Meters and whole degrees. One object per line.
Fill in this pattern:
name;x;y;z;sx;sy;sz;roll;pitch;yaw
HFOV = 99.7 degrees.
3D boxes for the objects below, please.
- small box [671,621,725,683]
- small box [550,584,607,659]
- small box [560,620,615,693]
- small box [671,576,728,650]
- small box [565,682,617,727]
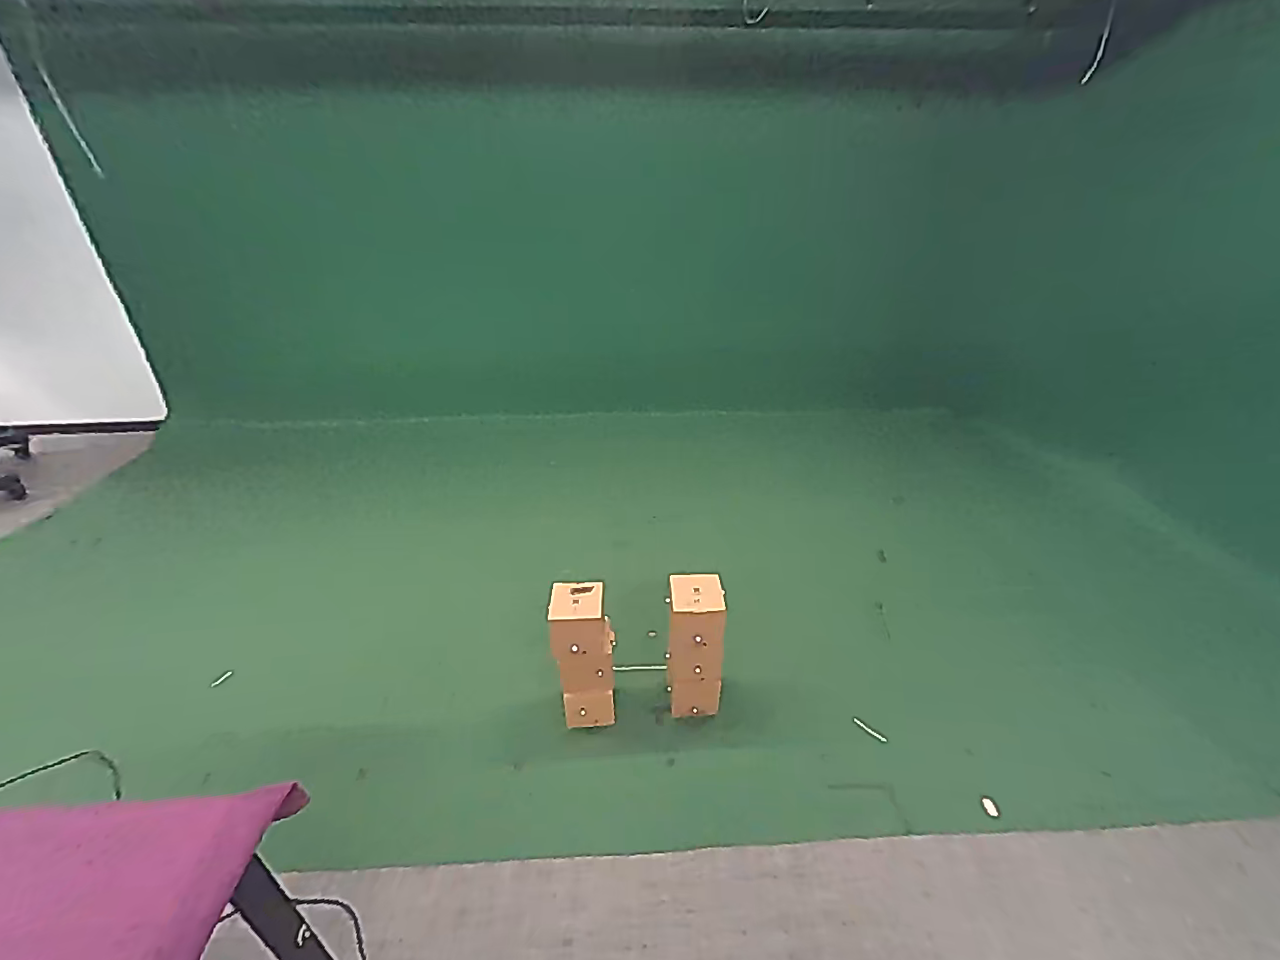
small box;0.194;0.577;1.857;0.168;0.176;0.179;-1;32;-2
small box;-0.194;0.457;1.753;0.168;0.176;0.179;-2;29;-1
small box;-0.174;0.599;1.833;0.179;0.176;0.168;-4;29;-4
small box;0.189;0.434;1.775;0.168;0.176;0.179;-1;31;0
small box;-0.171;0.748;1.900;0.168;0.176;0.179;-4;29;-4
